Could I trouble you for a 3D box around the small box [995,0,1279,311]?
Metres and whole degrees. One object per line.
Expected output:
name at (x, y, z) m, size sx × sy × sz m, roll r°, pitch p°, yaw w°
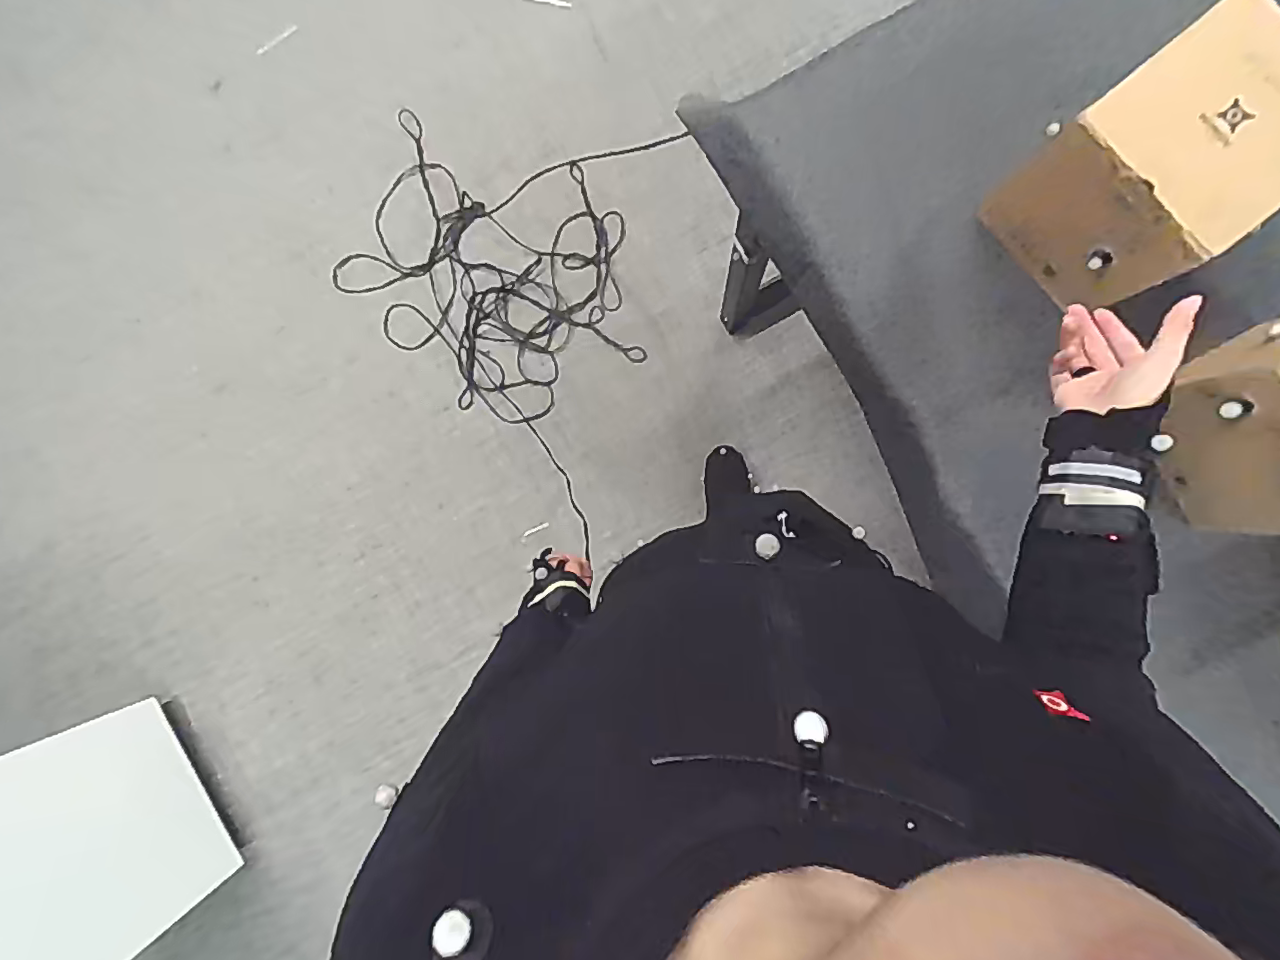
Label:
small box at (0.494, -0.297, 0.529) m, size 0.179 × 0.176 × 0.168 m, roll -39°, pitch 88°, yaw 2°
